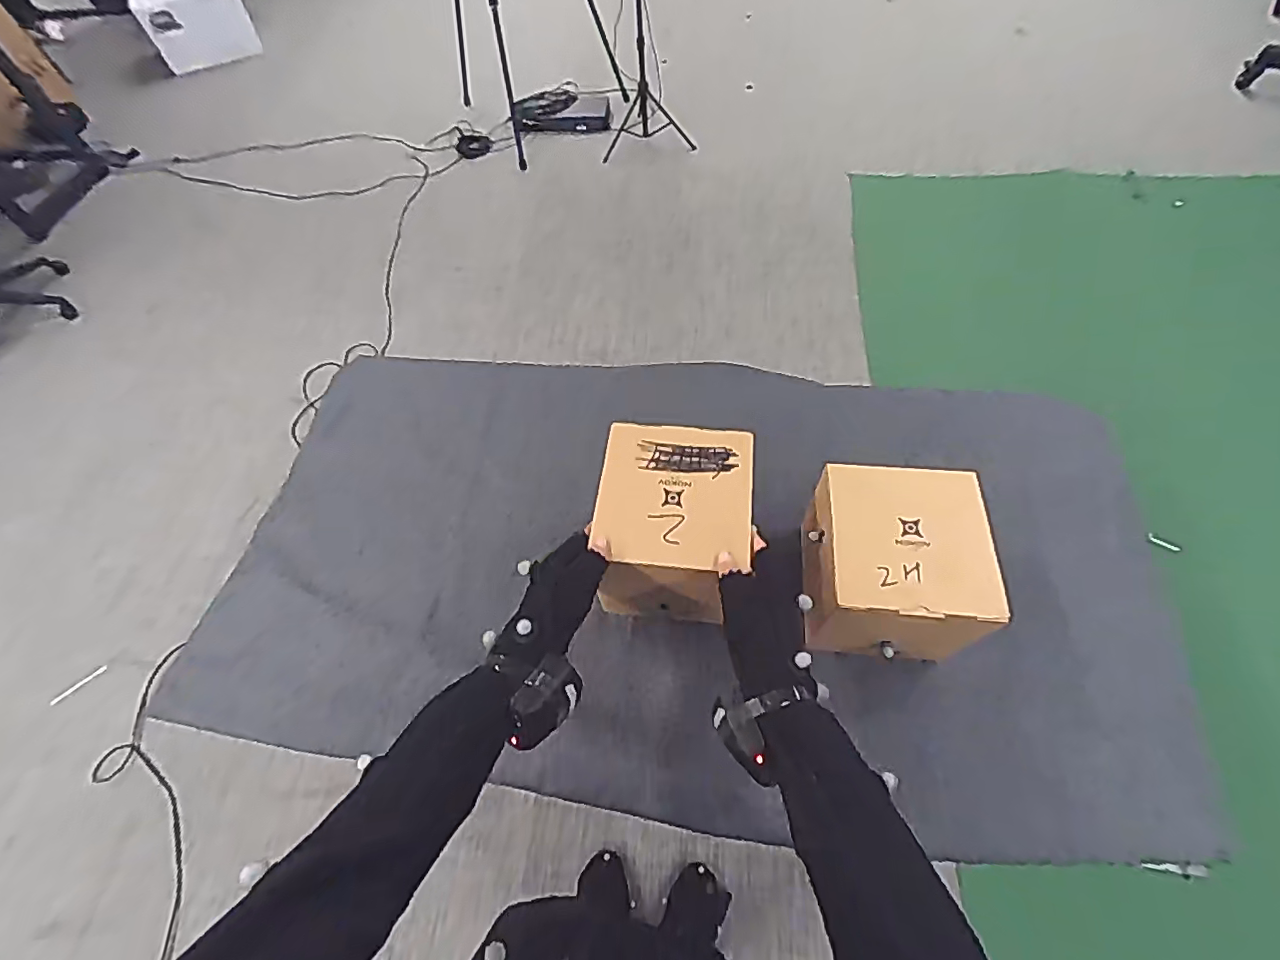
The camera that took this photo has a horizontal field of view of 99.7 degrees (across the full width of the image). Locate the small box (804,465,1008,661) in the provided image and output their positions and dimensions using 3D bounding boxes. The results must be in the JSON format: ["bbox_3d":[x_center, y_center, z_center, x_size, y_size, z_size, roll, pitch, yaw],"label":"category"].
[{"bbox_3d":[0.297,0.103,0.650,0.168,0.176,0.179,3,59,8],"label":"small box"}]
